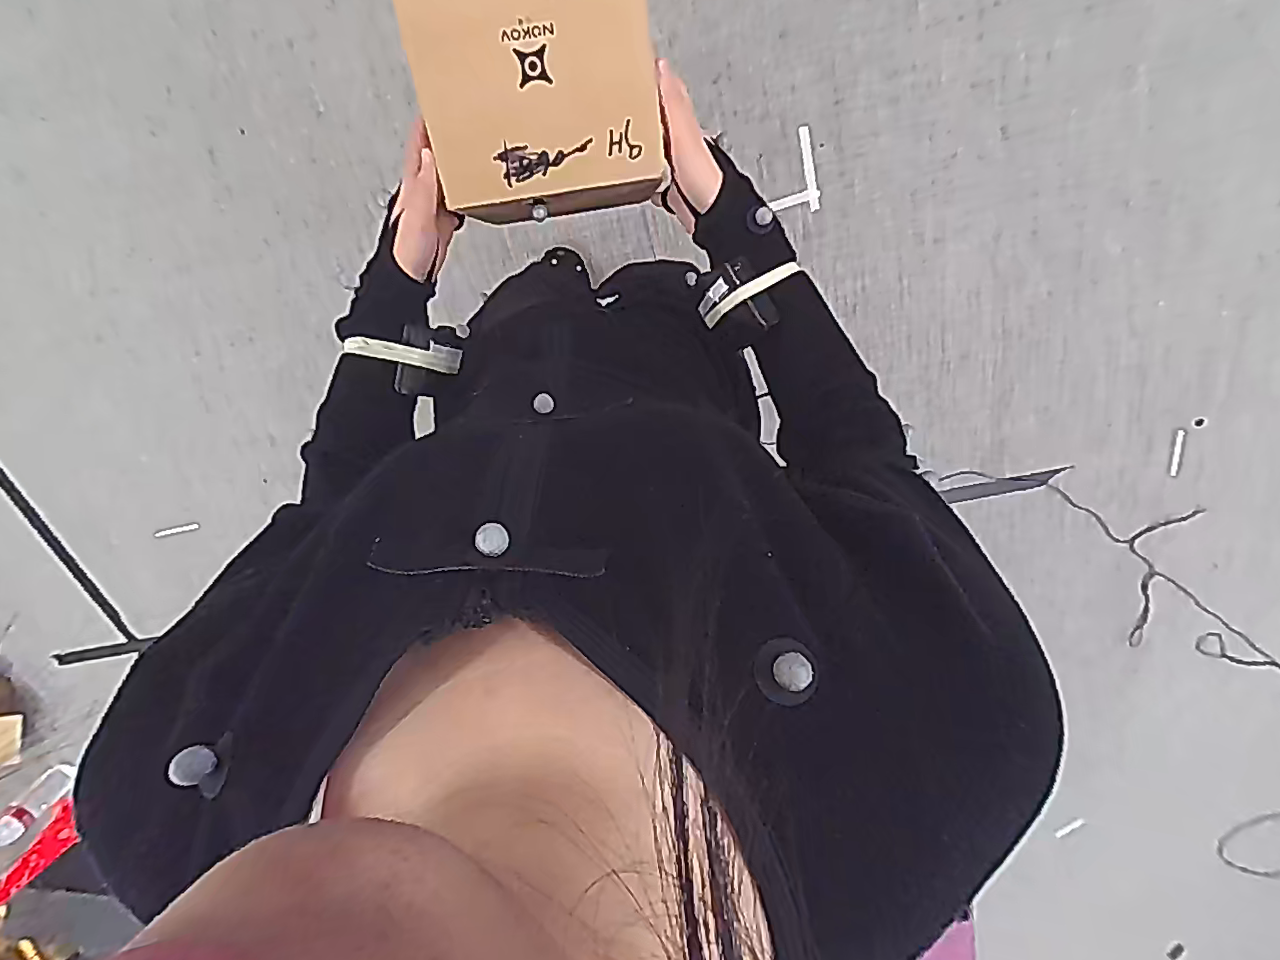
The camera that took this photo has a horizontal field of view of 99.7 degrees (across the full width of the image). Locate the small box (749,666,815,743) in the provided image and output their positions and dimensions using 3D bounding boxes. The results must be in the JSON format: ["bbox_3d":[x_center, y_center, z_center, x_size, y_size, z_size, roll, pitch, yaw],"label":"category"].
[{"bbox_3d":[0.471,0.745,1.806,0.179,0.176,0.168,-10,113,7],"label":"small box"}]

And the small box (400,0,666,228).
[{"bbox_3d":[-0.077,-0.316,0.440,0.168,0.176,0.179,-9,112,-1],"label":"small box"}]
